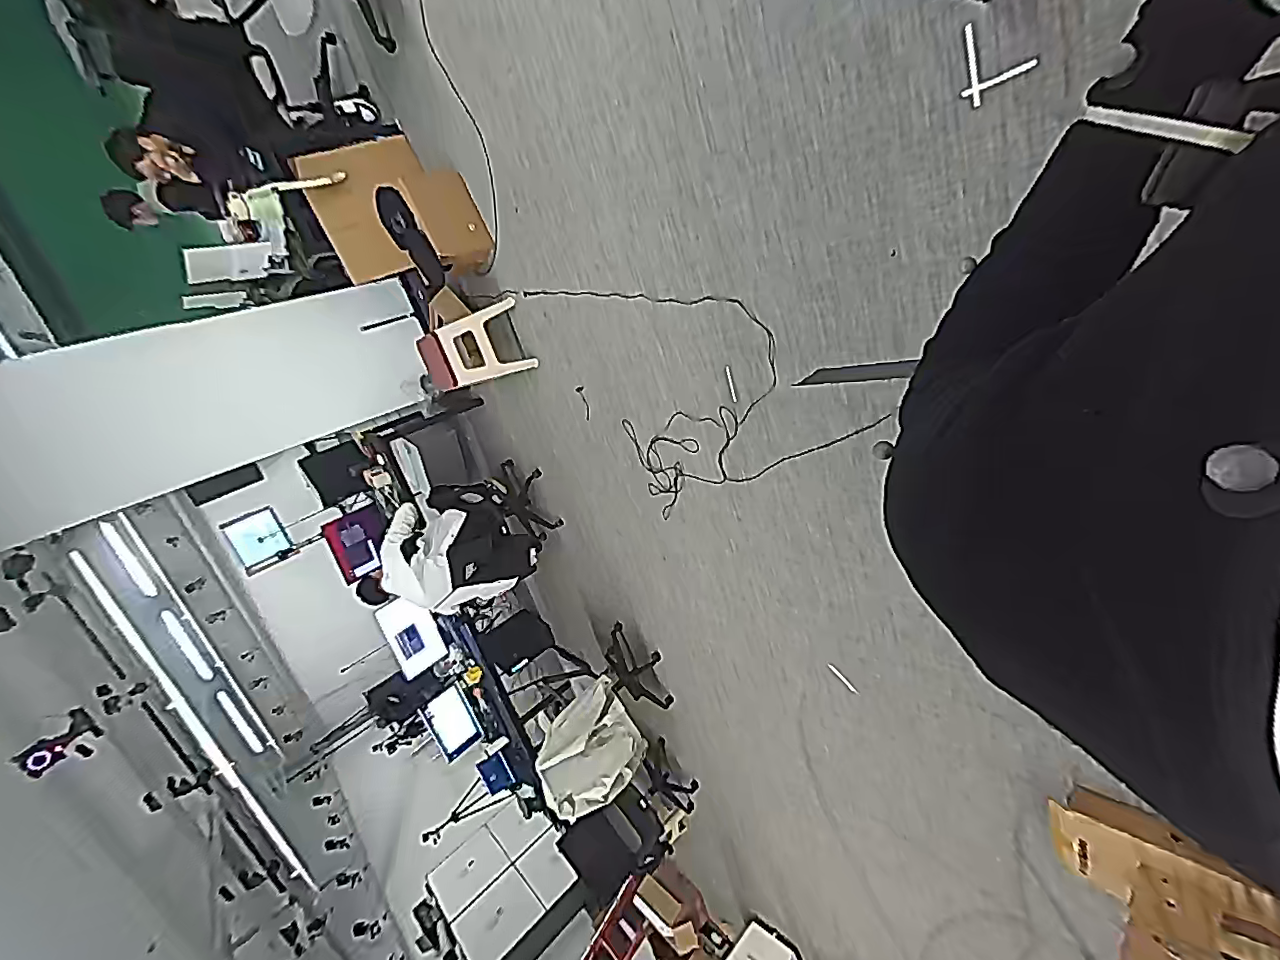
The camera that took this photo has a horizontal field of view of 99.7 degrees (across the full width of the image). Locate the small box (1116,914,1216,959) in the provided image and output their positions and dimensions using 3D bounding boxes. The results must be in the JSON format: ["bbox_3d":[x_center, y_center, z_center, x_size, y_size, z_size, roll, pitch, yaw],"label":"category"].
[{"bbox_3d":[1.331,1.268,1.361,0.168,0.176,0.179,-2,114,52],"label":"small box"}]

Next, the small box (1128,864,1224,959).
[{"bbox_3d":[1.443,1.196,1.457,0.168,0.176,0.179,3,117,52],"label":"small box"}]
